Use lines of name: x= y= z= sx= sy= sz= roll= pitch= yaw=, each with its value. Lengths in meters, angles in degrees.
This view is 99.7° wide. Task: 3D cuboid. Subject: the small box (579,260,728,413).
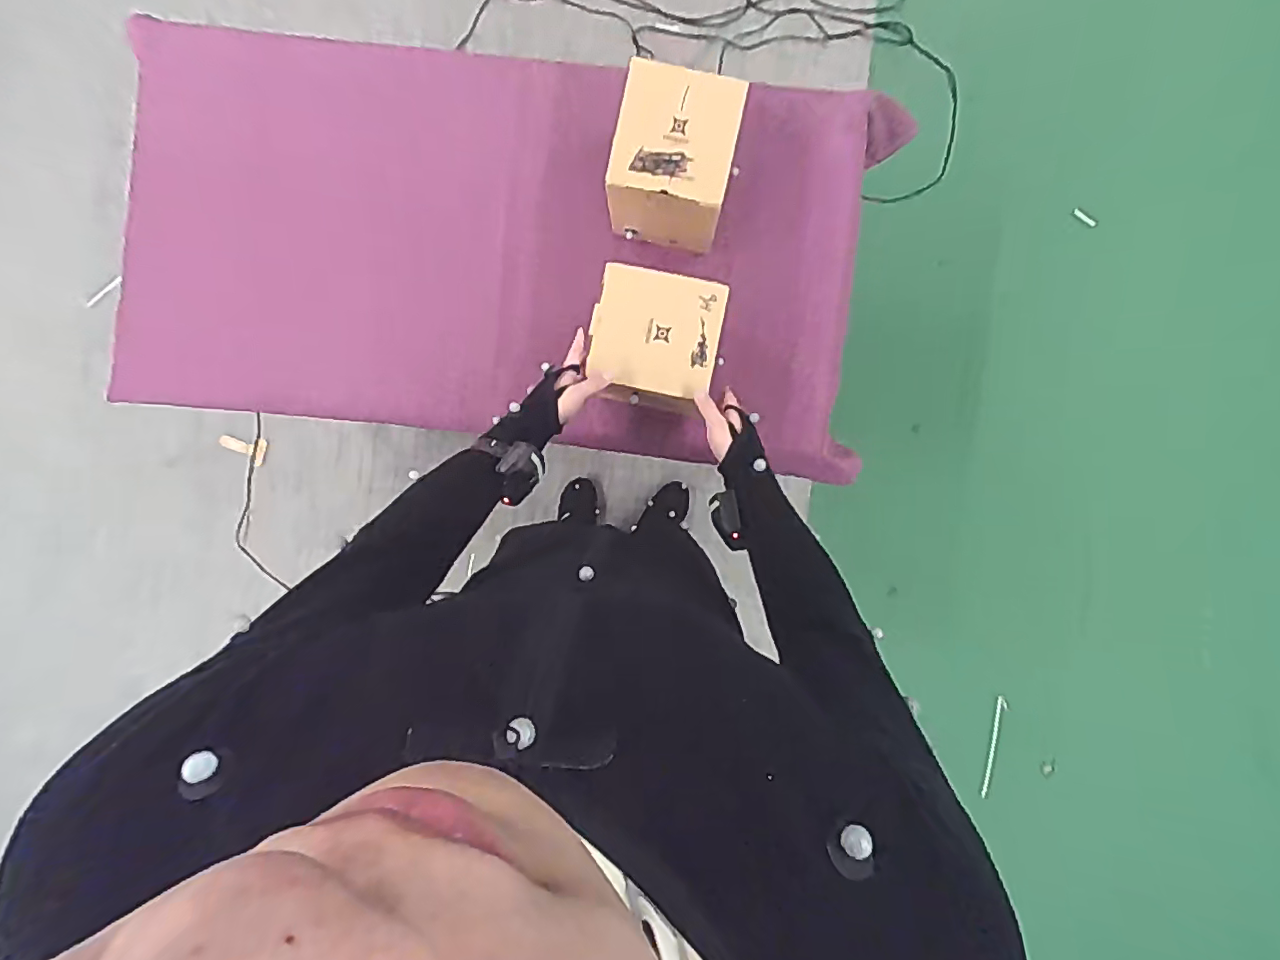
small box: x=0.020 y=-0.204 z=0.814 sx=0.179 sy=0.176 sz=0.168 roll=12 pitch=90 yaw=1

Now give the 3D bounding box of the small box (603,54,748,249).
small box: x=0.049 y=-0.474 z=0.809 sx=0.168 sy=0.176 sz=0.179 roll=13 pitch=91 yaw=0
